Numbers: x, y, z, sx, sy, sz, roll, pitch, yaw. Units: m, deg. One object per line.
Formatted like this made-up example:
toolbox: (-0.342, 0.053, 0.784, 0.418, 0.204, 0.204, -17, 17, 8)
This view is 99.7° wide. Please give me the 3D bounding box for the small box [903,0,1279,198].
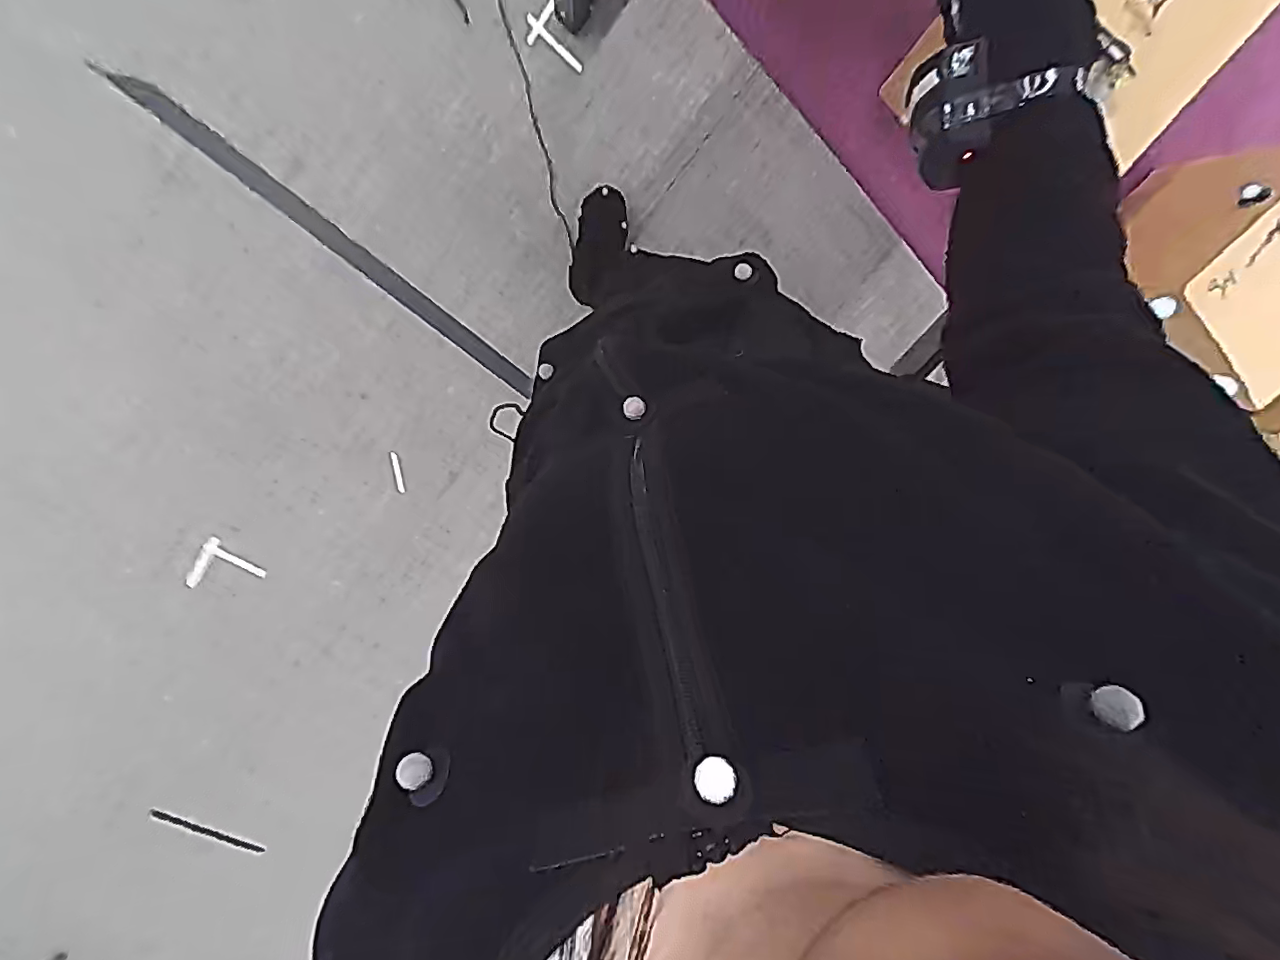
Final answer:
small box: (0.365, -0.377, 0.469, 0.168, 0.176, 0.179, 35, 104, -18)
